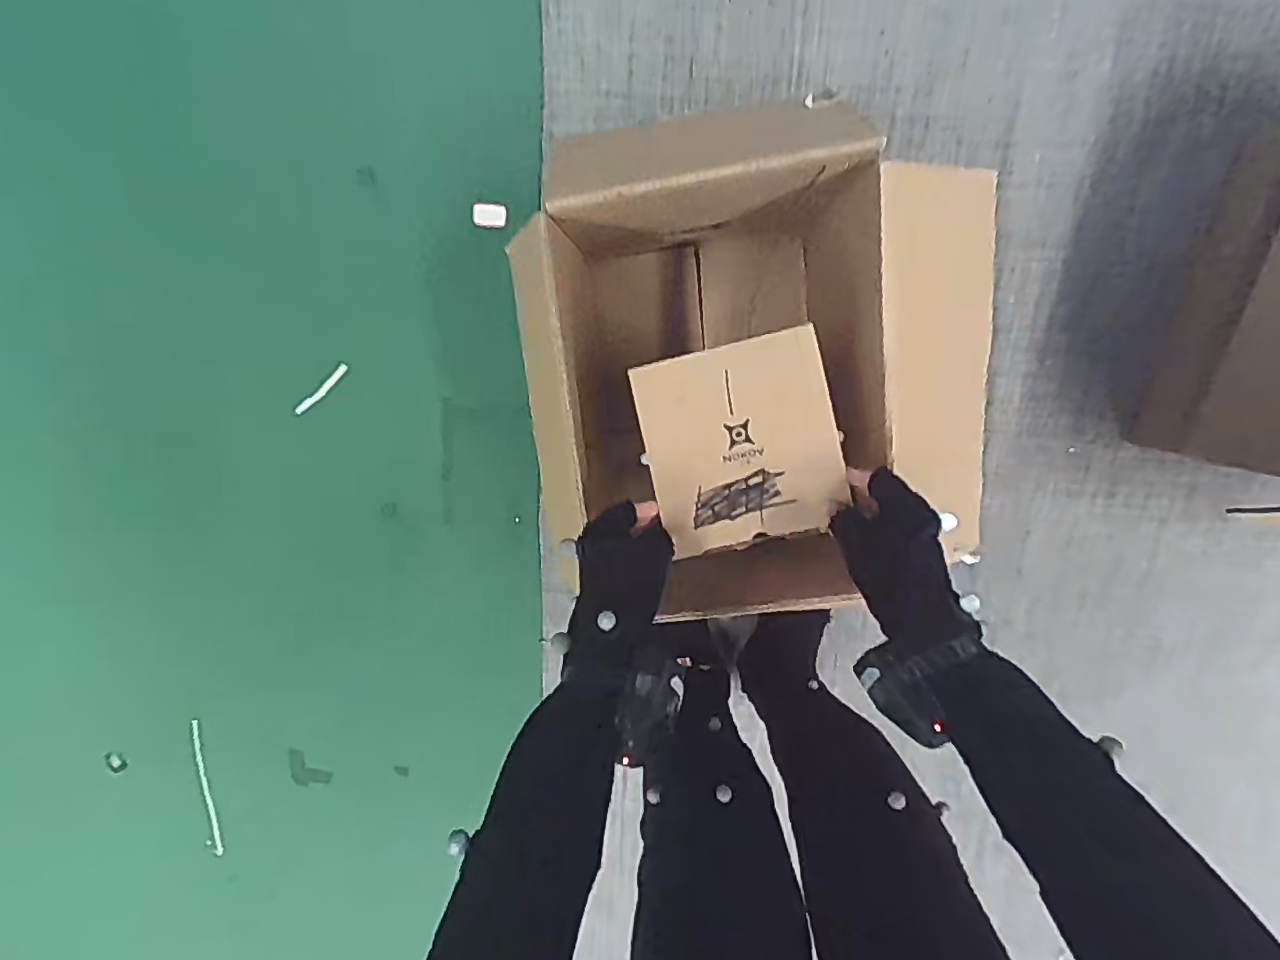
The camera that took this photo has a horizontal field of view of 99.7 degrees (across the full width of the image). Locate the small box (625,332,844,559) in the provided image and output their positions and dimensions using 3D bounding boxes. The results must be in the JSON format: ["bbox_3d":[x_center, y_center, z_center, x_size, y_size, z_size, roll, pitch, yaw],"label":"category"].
[{"bbox_3d":[0.094,-0.032,0.556,0.168,0.176,0.179,-13,90,8],"label":"small box"}]
